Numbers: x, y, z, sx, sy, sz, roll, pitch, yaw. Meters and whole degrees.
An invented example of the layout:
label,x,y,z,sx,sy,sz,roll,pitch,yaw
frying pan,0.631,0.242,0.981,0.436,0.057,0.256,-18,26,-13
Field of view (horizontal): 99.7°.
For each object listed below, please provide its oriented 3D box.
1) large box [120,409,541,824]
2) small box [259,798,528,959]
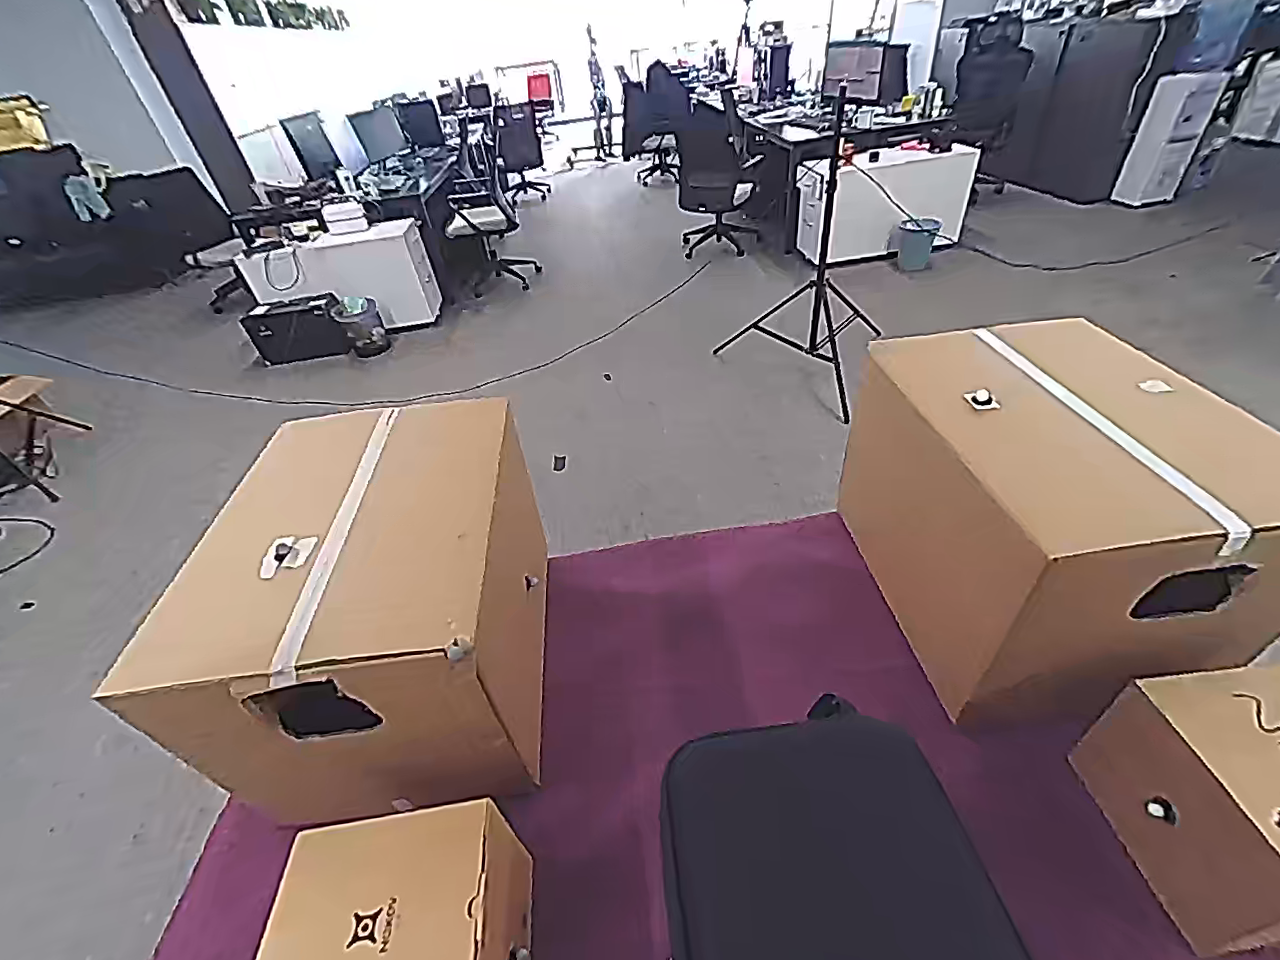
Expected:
label,x,y,z,sx,sy,sz,roll,pitch,yaw
large box,-0.306,0.158,0.705,0.320,0.320,0.408,-8,42,-2
small box,-0.209,0.421,0.486,0.179,0.176,0.168,-9,38,-3
